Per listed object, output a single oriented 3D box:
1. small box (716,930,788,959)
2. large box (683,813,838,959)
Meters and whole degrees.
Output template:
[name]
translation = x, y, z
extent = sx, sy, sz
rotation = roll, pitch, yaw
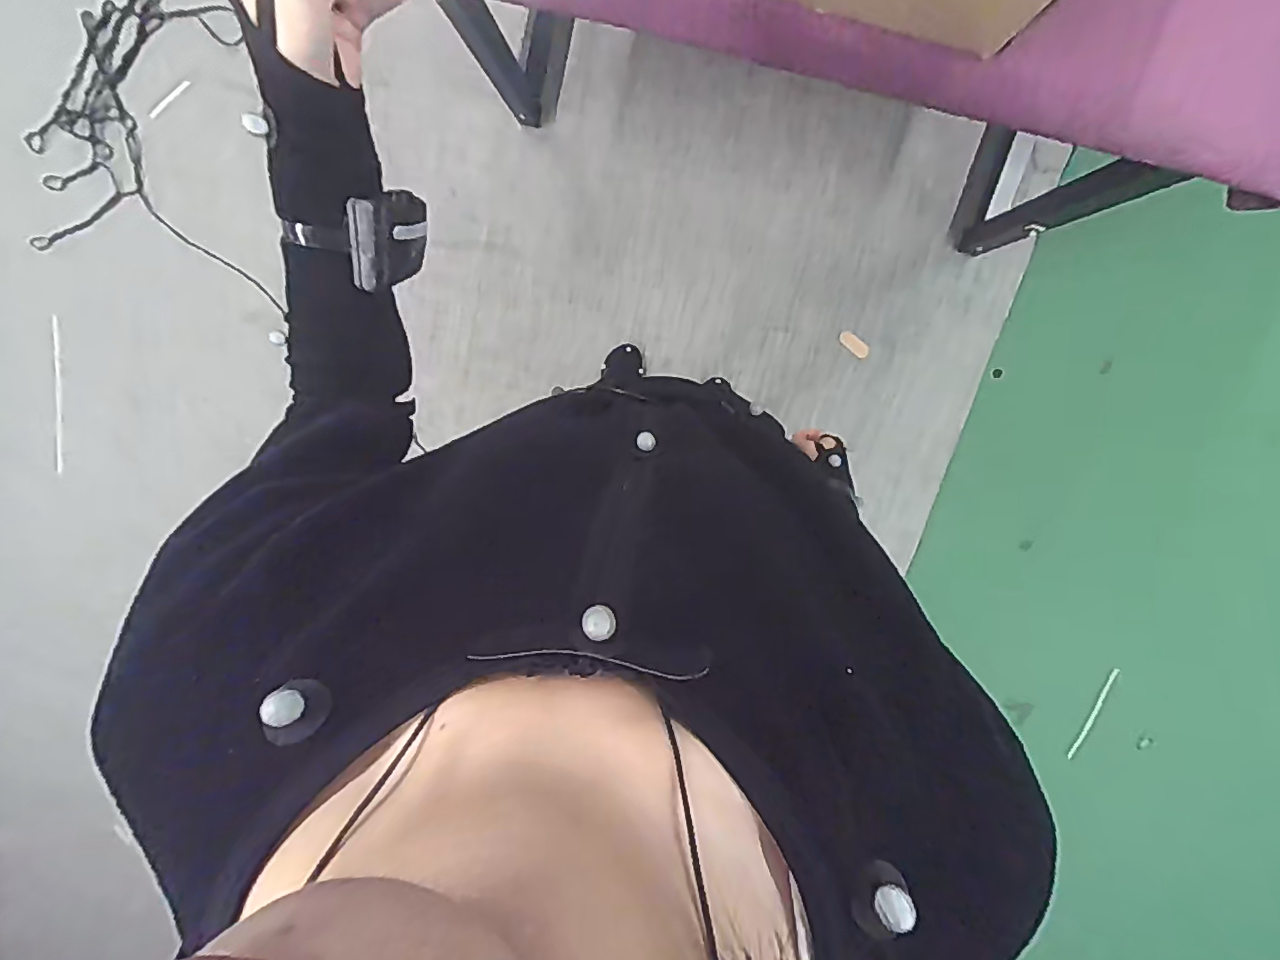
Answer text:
[small box]
translation = 0.288, 1.299, 1.376
extent = 0.179, 0.176, 0.168
rotation = 4, 101, 4
[large box]
translation = 0.333, 1.247, 1.613
extent = 0.408, 0.320, 0.320
rotation = 1, 103, 3
